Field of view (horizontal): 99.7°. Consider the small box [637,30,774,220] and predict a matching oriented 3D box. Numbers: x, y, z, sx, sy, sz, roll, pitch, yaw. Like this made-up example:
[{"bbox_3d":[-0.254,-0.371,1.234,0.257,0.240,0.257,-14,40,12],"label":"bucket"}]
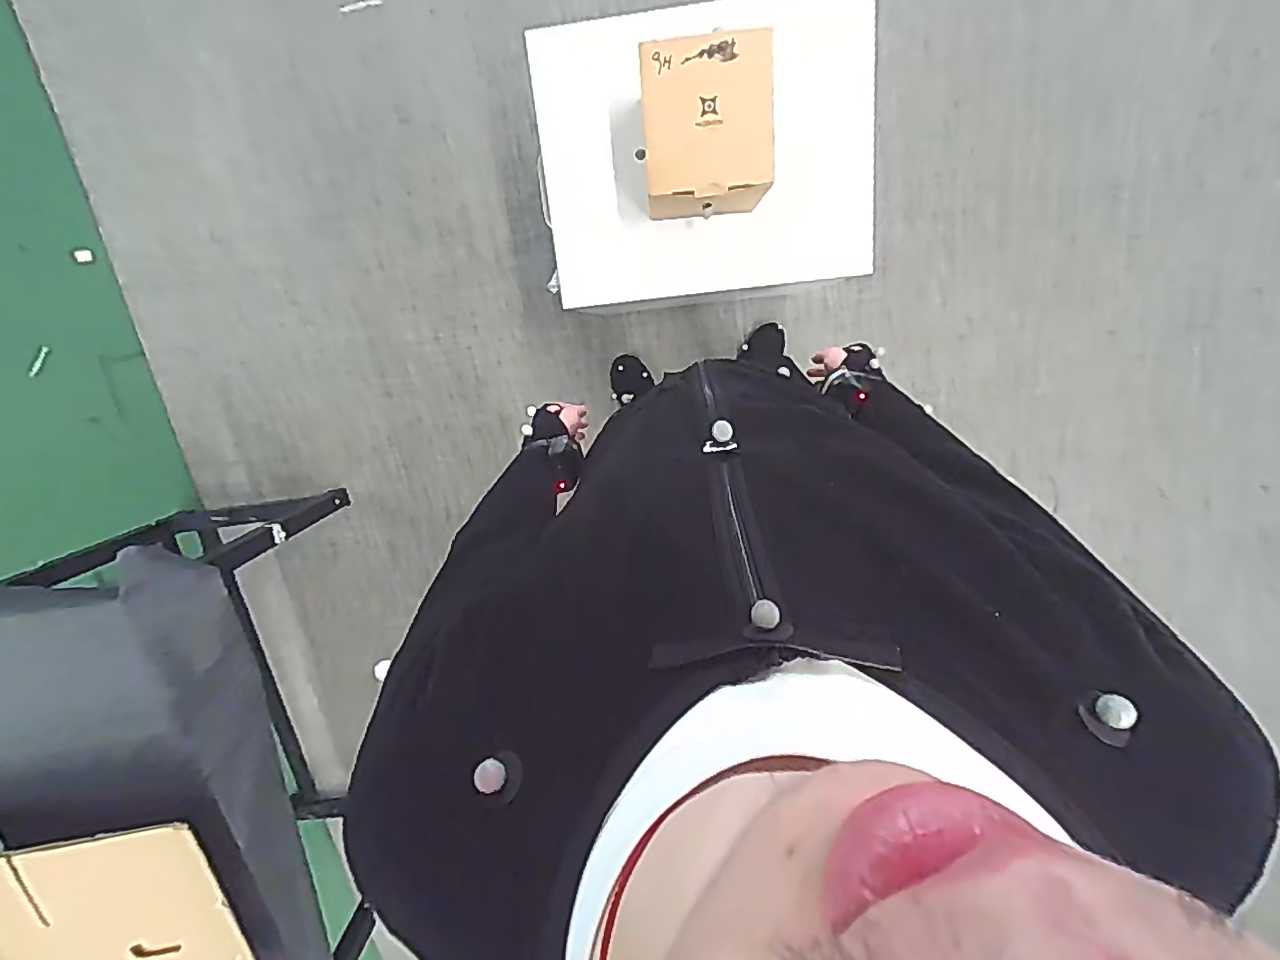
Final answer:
[{"bbox_3d":[0.090,-0.478,0.760,0.168,0.176,0.179,-6,105,5],"label":"small box"}]
